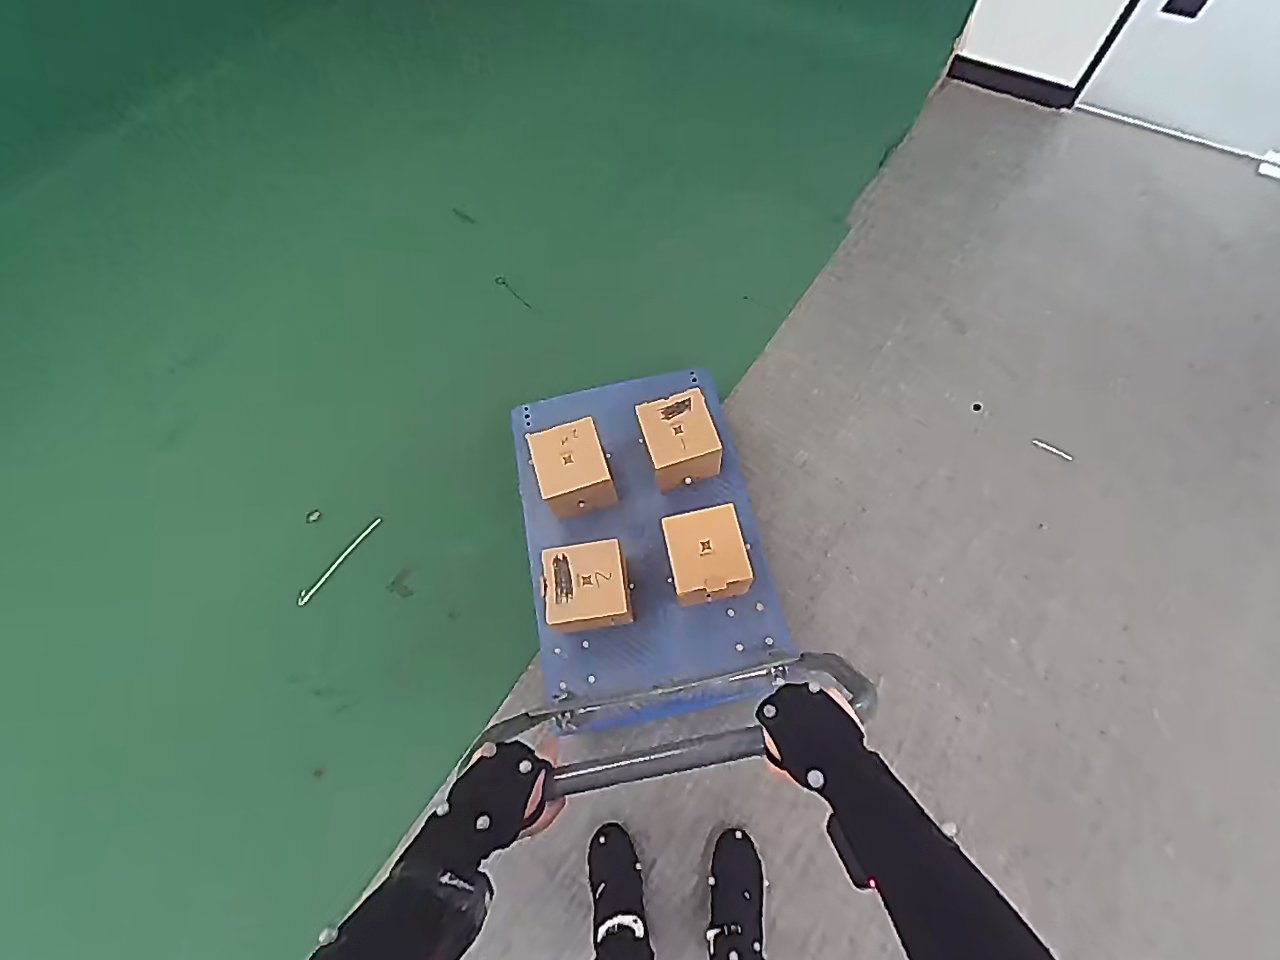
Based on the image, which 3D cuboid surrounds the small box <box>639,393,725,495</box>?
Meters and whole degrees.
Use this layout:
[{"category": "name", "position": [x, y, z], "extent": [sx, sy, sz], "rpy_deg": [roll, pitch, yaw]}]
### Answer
[{"category": "small box", "position": [0.101, -0.084, 1.348], "extent": [0.168, 0.176, 0.179], "rpy_deg": [-17, 69, -1]}]

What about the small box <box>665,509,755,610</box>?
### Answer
[{"category": "small box", "position": [0.154, 0.187, 1.241], "extent": [0.168, 0.176, 0.179], "rpy_deg": [-12, 69, 0]}]

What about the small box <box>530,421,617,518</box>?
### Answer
[{"category": "small box", "position": [-0.159, -0.016, 1.343], "extent": [0.168, 0.176, 0.179], "rpy_deg": [-16, 69, -3]}]
